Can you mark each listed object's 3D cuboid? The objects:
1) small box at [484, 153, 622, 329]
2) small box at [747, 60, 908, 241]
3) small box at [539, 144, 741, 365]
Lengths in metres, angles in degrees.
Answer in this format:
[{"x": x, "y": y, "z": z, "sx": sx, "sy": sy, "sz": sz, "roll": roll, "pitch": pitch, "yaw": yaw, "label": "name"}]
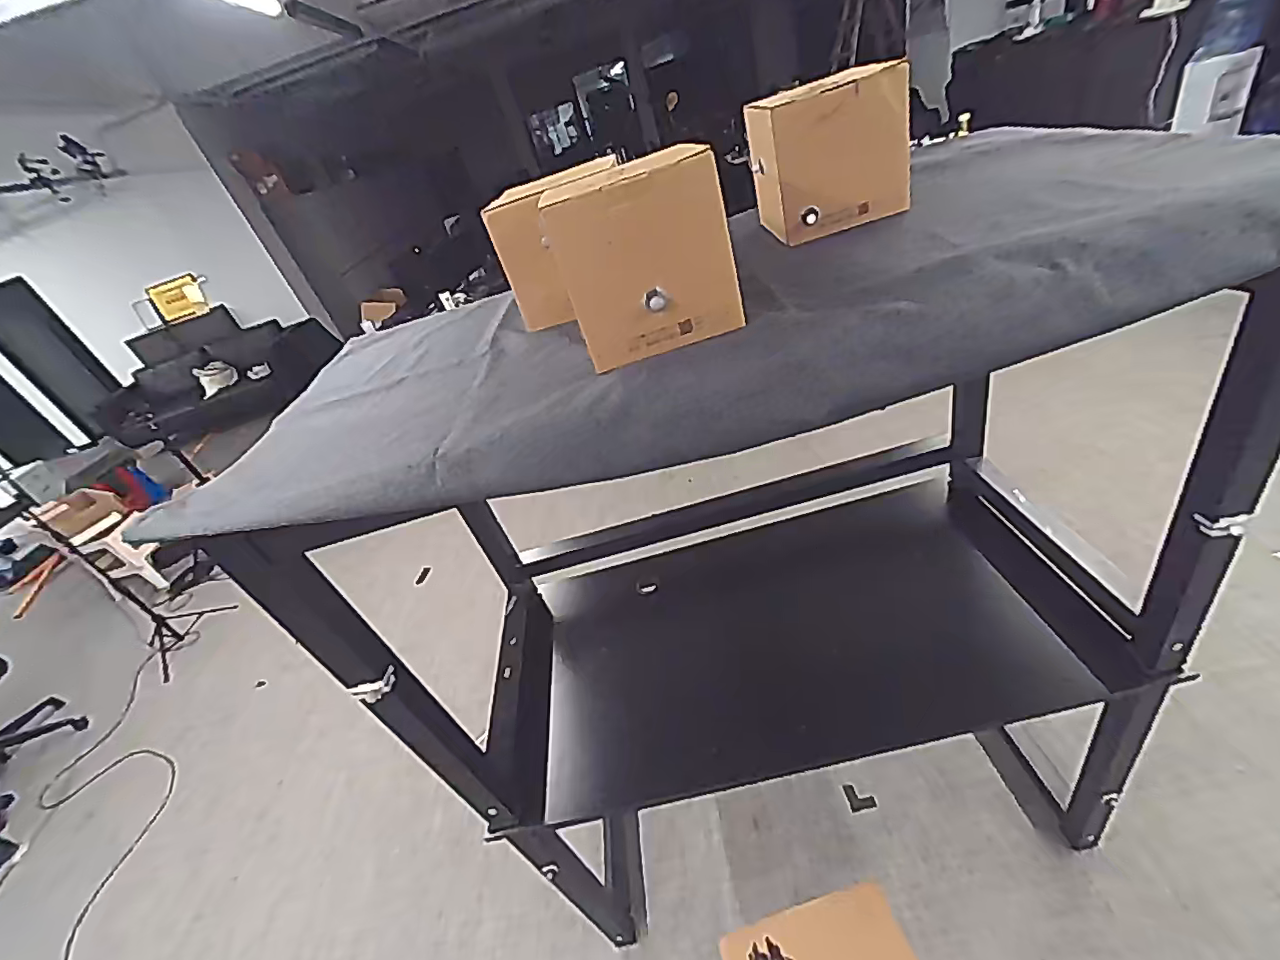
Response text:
[{"x": -0.091, "y": -0.340, "z": 0.773, "sx": 0.179, "sy": 0.176, "sz": 0.168, "roll": -13, "pitch": 35, "yaw": 10, "label": "small box"}, {"x": 0.258, "y": -0.450, "z": 0.753, "sx": 0.168, "sy": 0.176, "sz": 0.179, "roll": -14, "pitch": 34, "yaw": 8, "label": "small box"}, {"x": 0.002, "y": -0.247, "z": 0.592, "sx": 0.168, "sy": 0.176, "sz": 0.179, "roll": -17, "pitch": 34, "yaw": 4, "label": "small box"}]
